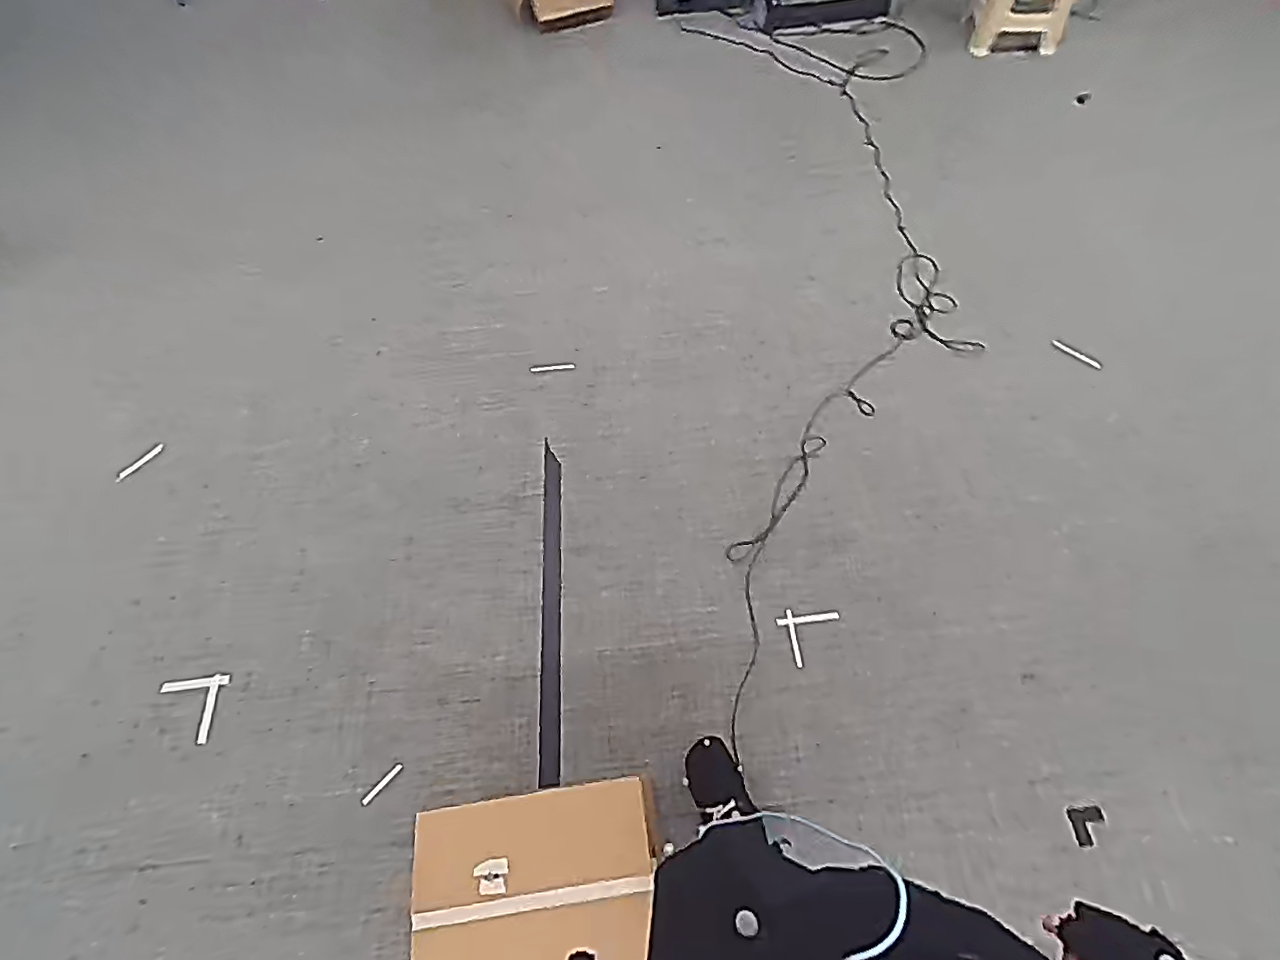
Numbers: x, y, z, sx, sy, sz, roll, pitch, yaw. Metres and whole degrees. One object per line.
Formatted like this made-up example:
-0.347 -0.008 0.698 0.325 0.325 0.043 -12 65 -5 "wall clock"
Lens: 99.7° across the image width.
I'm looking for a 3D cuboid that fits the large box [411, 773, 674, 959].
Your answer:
-0.163 0.759 1.018 0.408 0.320 0.320 -10 61 1 "large box"
